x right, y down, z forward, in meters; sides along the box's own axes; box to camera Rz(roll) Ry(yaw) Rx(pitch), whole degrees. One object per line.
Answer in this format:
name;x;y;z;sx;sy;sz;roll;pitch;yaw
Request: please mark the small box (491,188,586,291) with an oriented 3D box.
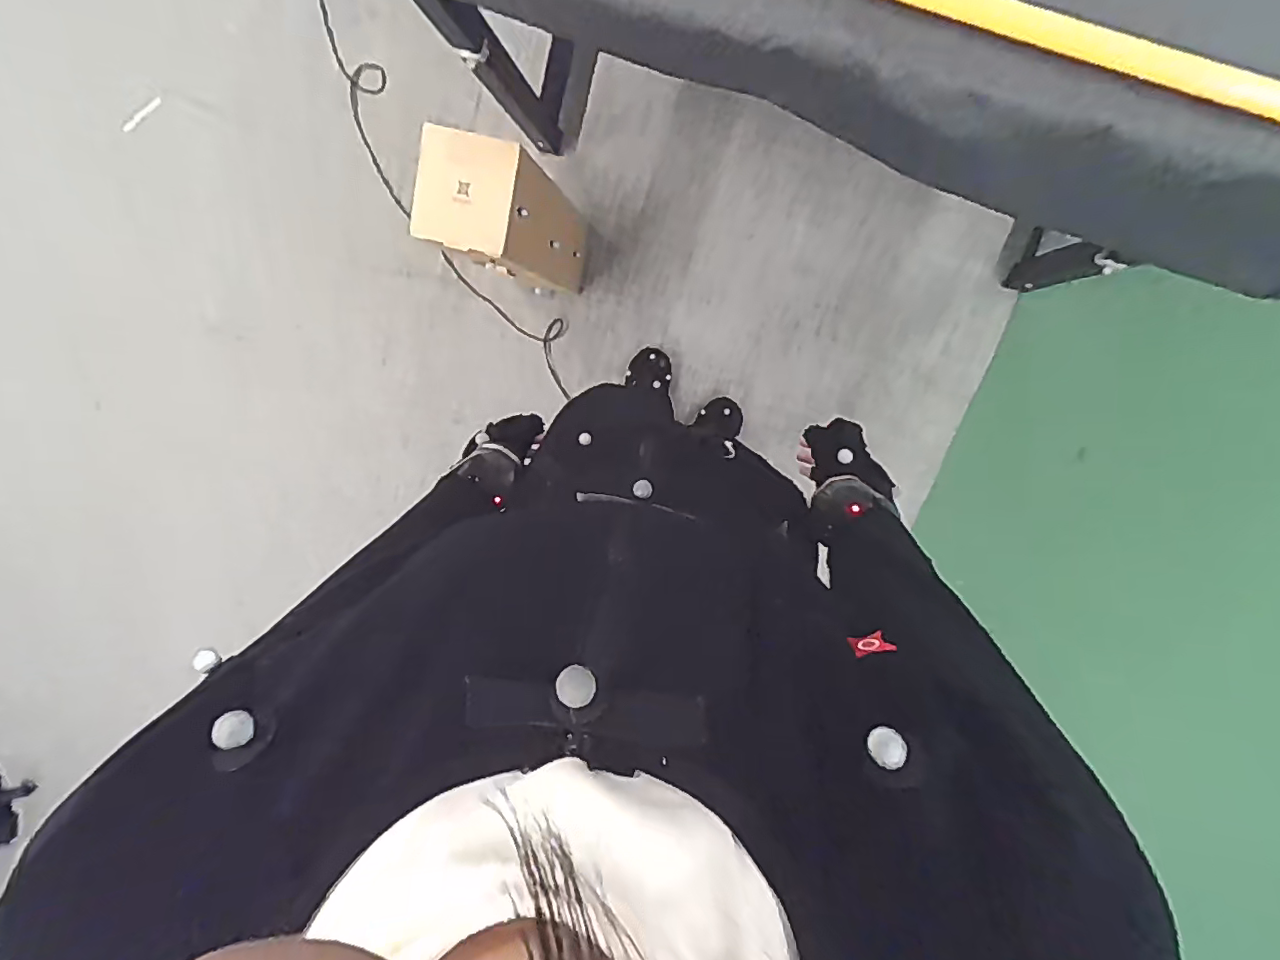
small box;-0.230;-0.554;1.264;0.168;0.176;0.179;12;104;5
